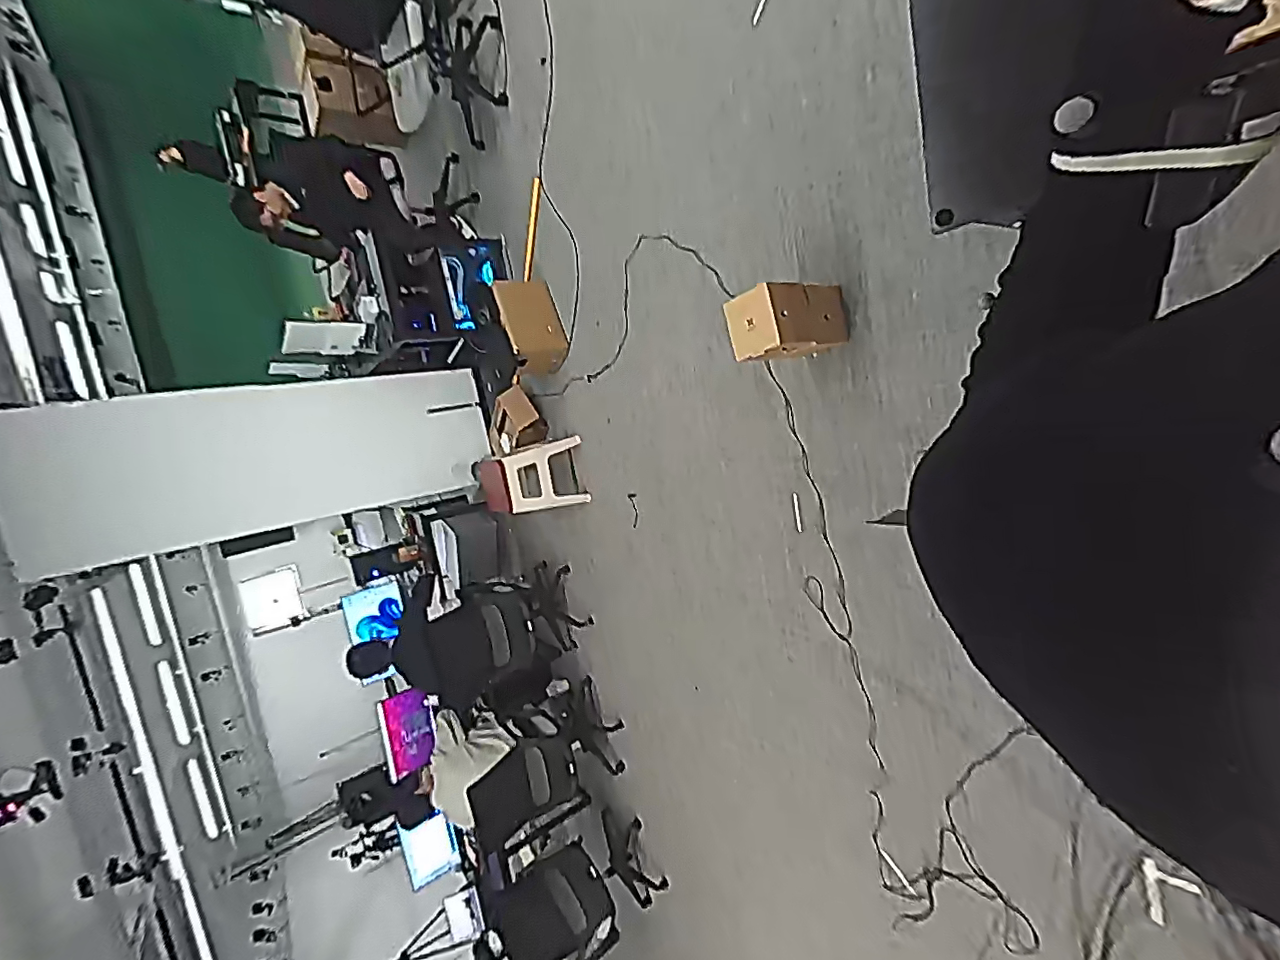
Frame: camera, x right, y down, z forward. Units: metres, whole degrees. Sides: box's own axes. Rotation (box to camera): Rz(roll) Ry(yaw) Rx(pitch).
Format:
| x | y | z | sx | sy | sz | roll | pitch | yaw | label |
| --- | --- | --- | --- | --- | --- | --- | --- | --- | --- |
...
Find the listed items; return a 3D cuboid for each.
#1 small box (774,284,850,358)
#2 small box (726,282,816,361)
| x | y | z | sx | sy | sz | roll | pitch | yaw | label |
| --- | --- | --- | --- | --- | --- | --- | --- | --- | --- |
| 0.509 | -0.481 | 1.642 | 0.168 | 0.176 | 0.179 | -7 | 96 | 54 | small box |
| 0.379 | -0.453 | 1.547 | 0.168 | 0.176 | 0.179 | -12 | 92 | 54 | small box |
